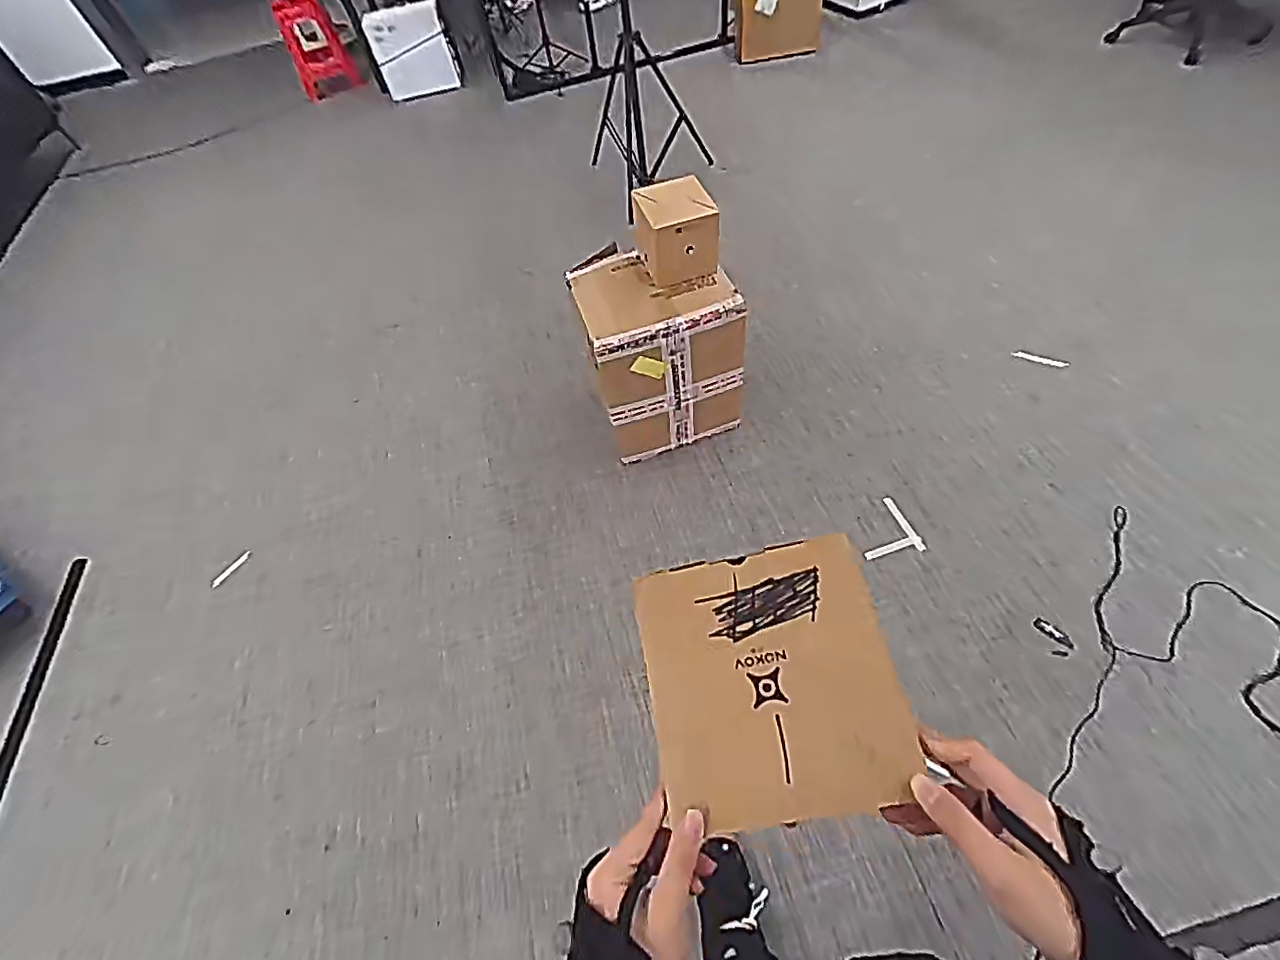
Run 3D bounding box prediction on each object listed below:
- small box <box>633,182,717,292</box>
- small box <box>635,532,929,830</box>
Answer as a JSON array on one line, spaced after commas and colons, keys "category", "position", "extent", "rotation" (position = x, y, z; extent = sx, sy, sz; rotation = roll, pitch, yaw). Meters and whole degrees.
[{"category": "small box", "position": [0.086, -0.612, 1.359], "extent": [0.168, 0.176, 0.179], "rotation": [-18, 58, -7]}, {"category": "small box", "position": [0.100, 0.164, 0.444], "extent": [0.168, 0.176, 0.179], "rotation": [-13, 64, 6]}]
